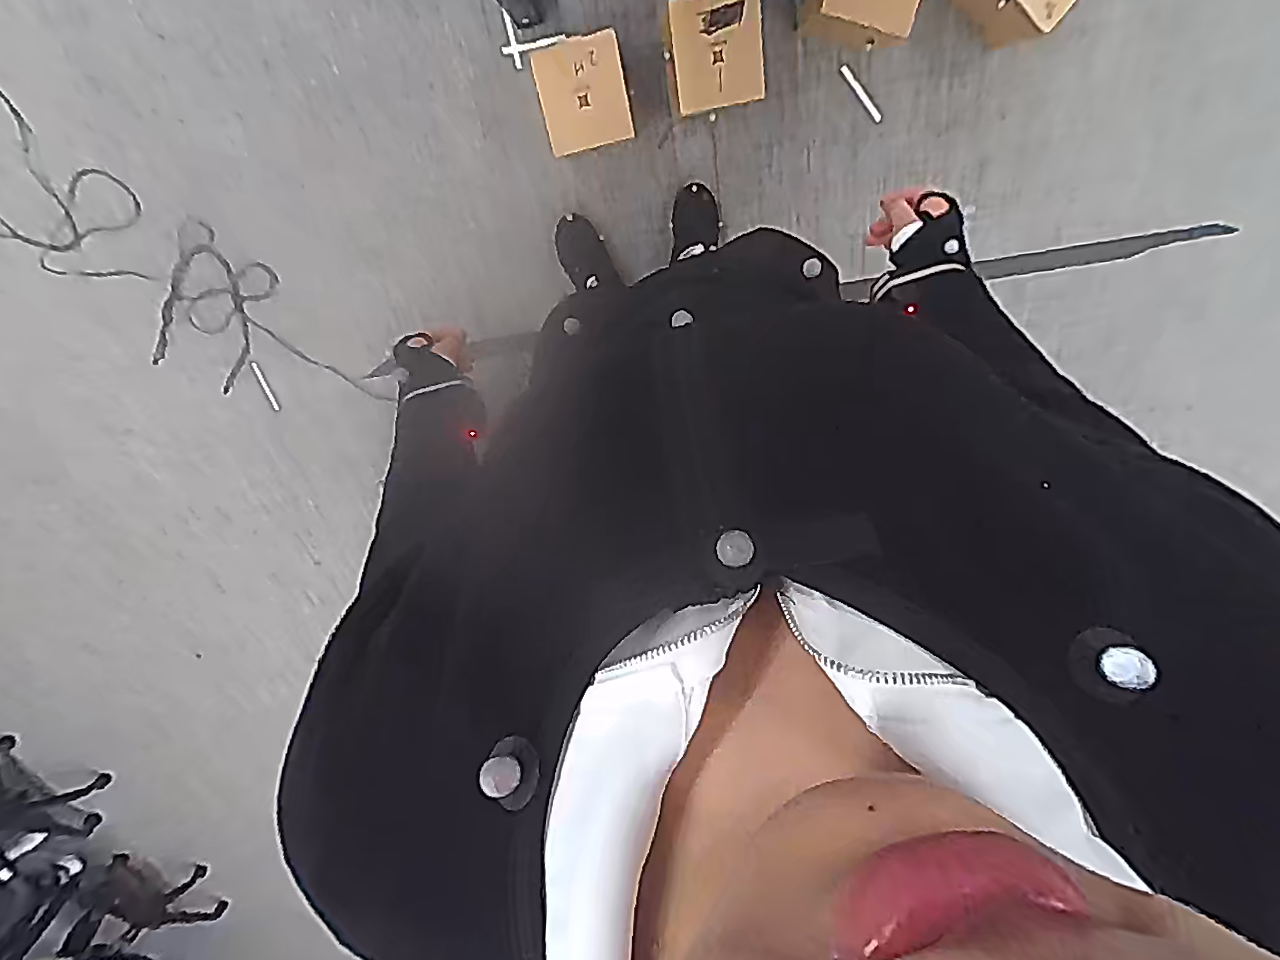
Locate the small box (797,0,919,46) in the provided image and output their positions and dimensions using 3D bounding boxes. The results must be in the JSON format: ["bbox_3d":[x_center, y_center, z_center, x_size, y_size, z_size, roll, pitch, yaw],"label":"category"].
[{"bbox_3d":[0.419,-0.940,1.008,0.179,0.176,0.168,10,119,-6],"label":"small box"}]

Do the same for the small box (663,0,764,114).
[{"bbox_3d":[0.140,-0.840,1.060,0.168,0.176,0.179,-9,122,5],"label":"small box"}]

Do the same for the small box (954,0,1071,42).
[{"bbox_3d":[0.722,-0.964,0.997,0.168,0.176,0.179,30,115,-17],"label":"small box"}]
